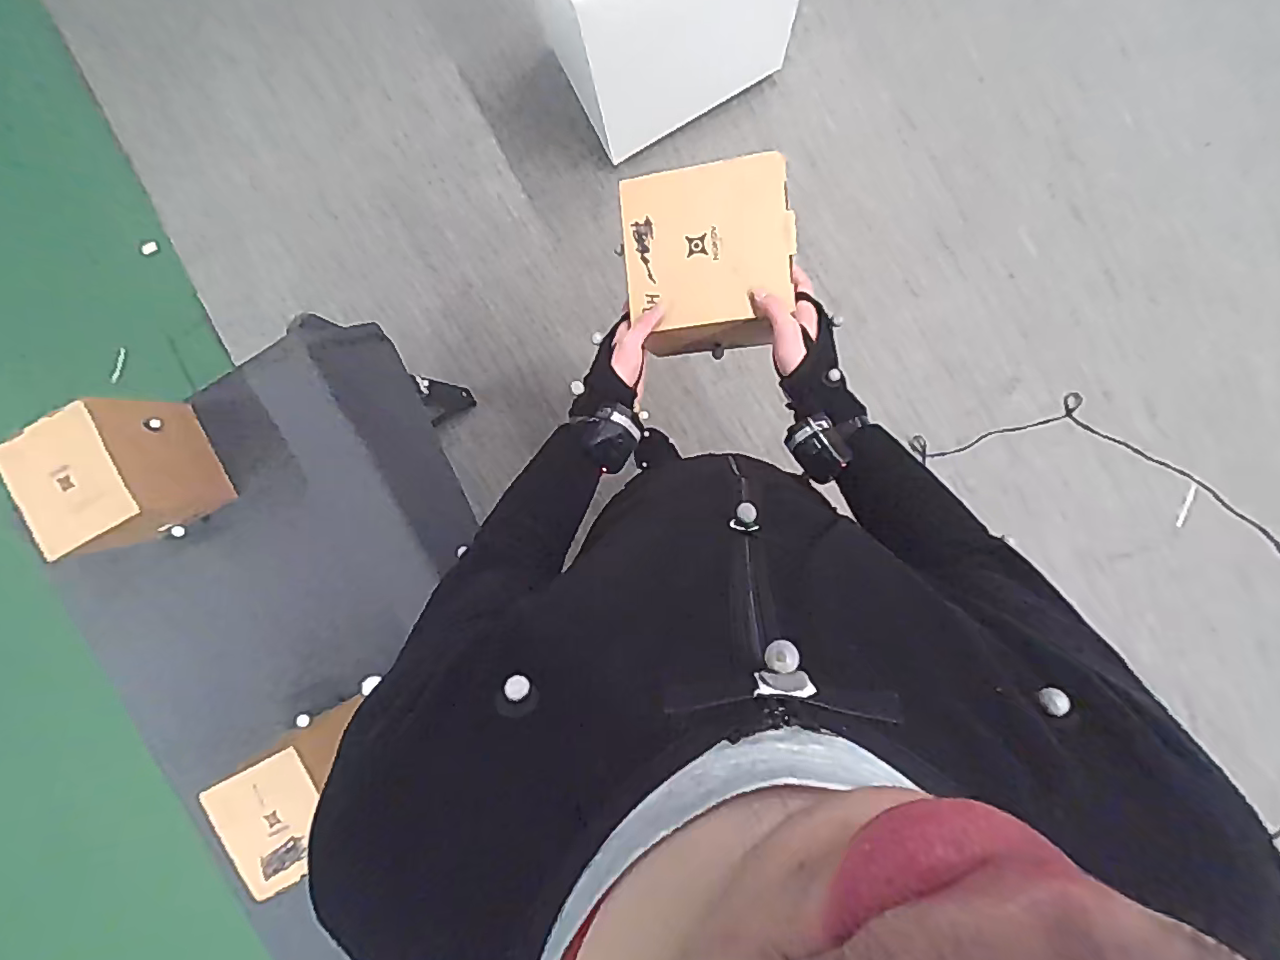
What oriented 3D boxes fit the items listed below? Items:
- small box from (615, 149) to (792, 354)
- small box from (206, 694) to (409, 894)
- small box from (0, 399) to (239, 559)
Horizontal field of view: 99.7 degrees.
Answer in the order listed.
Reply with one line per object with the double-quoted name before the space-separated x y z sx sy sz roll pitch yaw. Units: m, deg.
"small box" 0.076 -0.252 0.639 0.179 0.176 0.168 -4 92 10
"small box" -0.494 0.469 0.832 0.168 0.176 0.179 -28 90 6
"small box" -0.774 -0.006 0.823 0.168 0.176 0.179 -27 93 7
